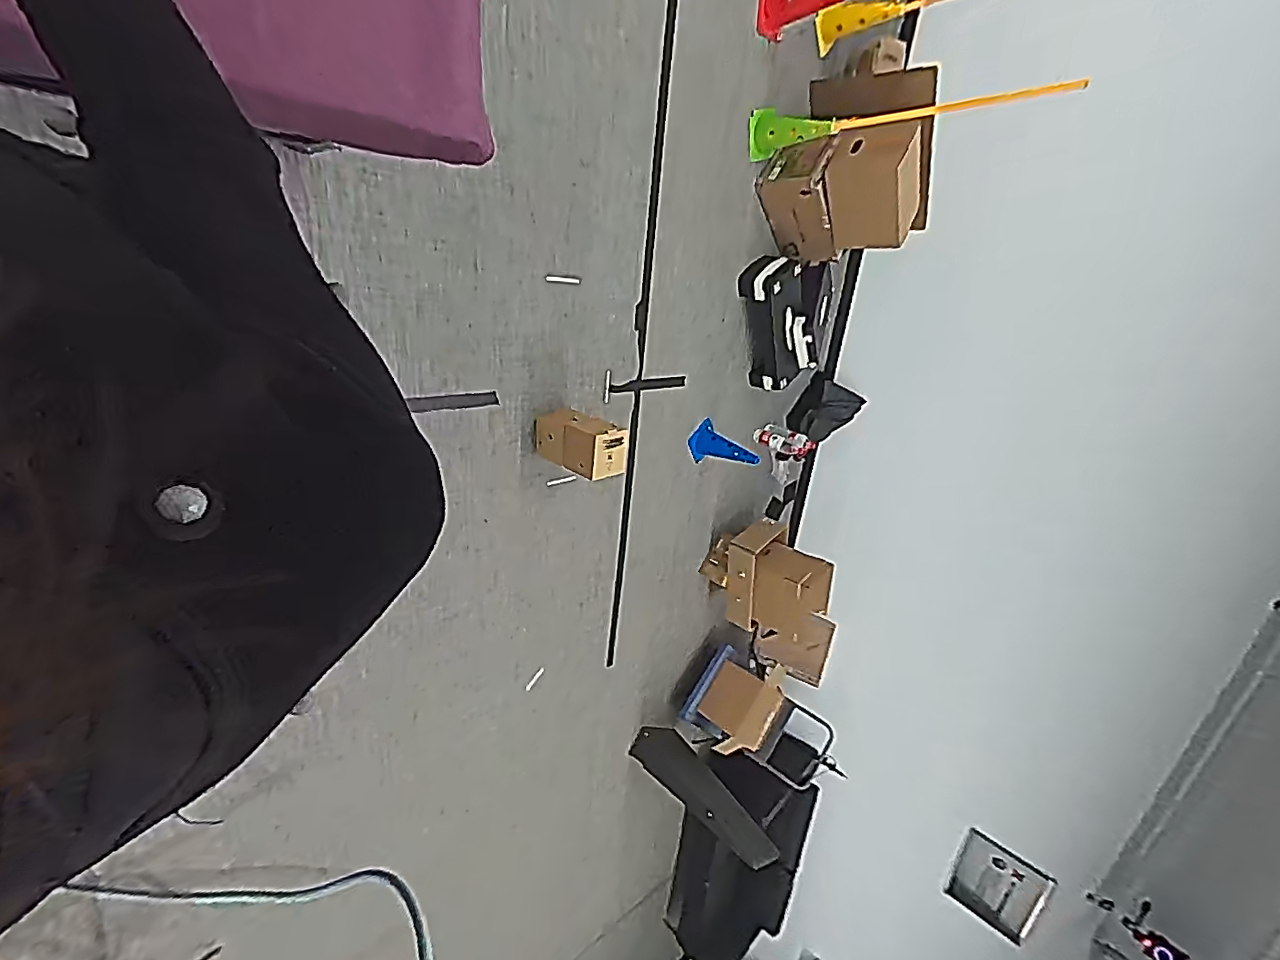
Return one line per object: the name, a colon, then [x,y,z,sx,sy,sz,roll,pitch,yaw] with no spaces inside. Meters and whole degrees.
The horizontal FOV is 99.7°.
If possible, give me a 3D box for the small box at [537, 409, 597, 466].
small box: [-0.289,-0.170,2.103,0.179,0.176,0.168,-21,124,-43]
